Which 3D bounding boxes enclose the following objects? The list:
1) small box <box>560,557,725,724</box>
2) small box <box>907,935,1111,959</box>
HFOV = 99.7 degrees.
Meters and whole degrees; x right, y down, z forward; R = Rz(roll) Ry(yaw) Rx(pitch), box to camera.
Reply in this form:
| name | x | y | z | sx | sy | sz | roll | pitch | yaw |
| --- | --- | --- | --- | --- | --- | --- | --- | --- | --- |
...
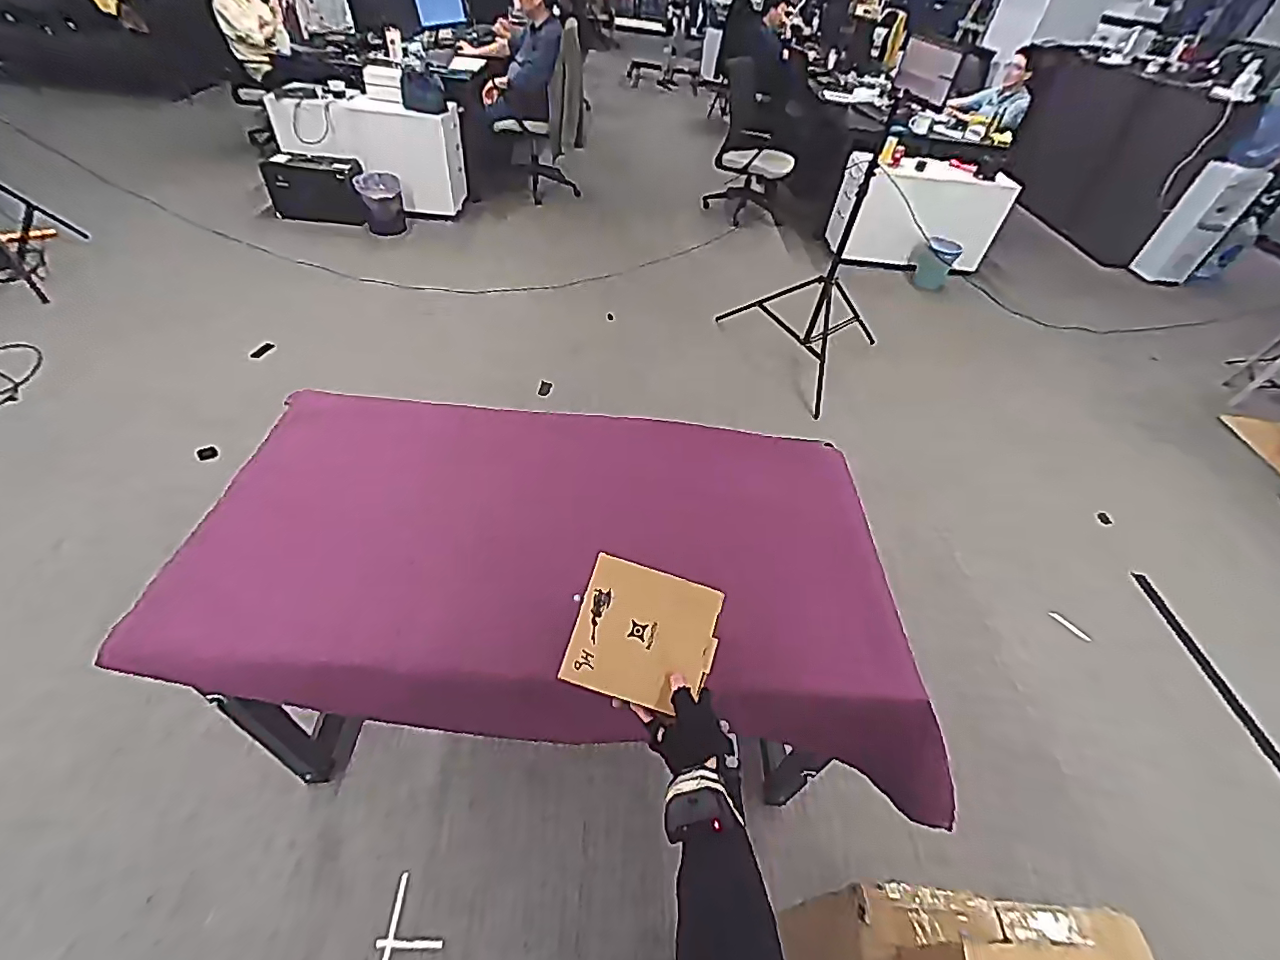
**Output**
| name | x | y | z | sx | sy | sz | roll | pitch | yaw |
| --- | --- | --- | --- | --- | --- | --- | --- | --- | --- |
| small box | -0.001 | 0.224 | 0.761 | 0.179 | 0.176 | 0.168 | 18 | 70 | 0 |
| small box | 0.426 | 0.626 | 0.595 | 0.168 | 0.176 | 0.179 | 4 | 47 | -2 |
